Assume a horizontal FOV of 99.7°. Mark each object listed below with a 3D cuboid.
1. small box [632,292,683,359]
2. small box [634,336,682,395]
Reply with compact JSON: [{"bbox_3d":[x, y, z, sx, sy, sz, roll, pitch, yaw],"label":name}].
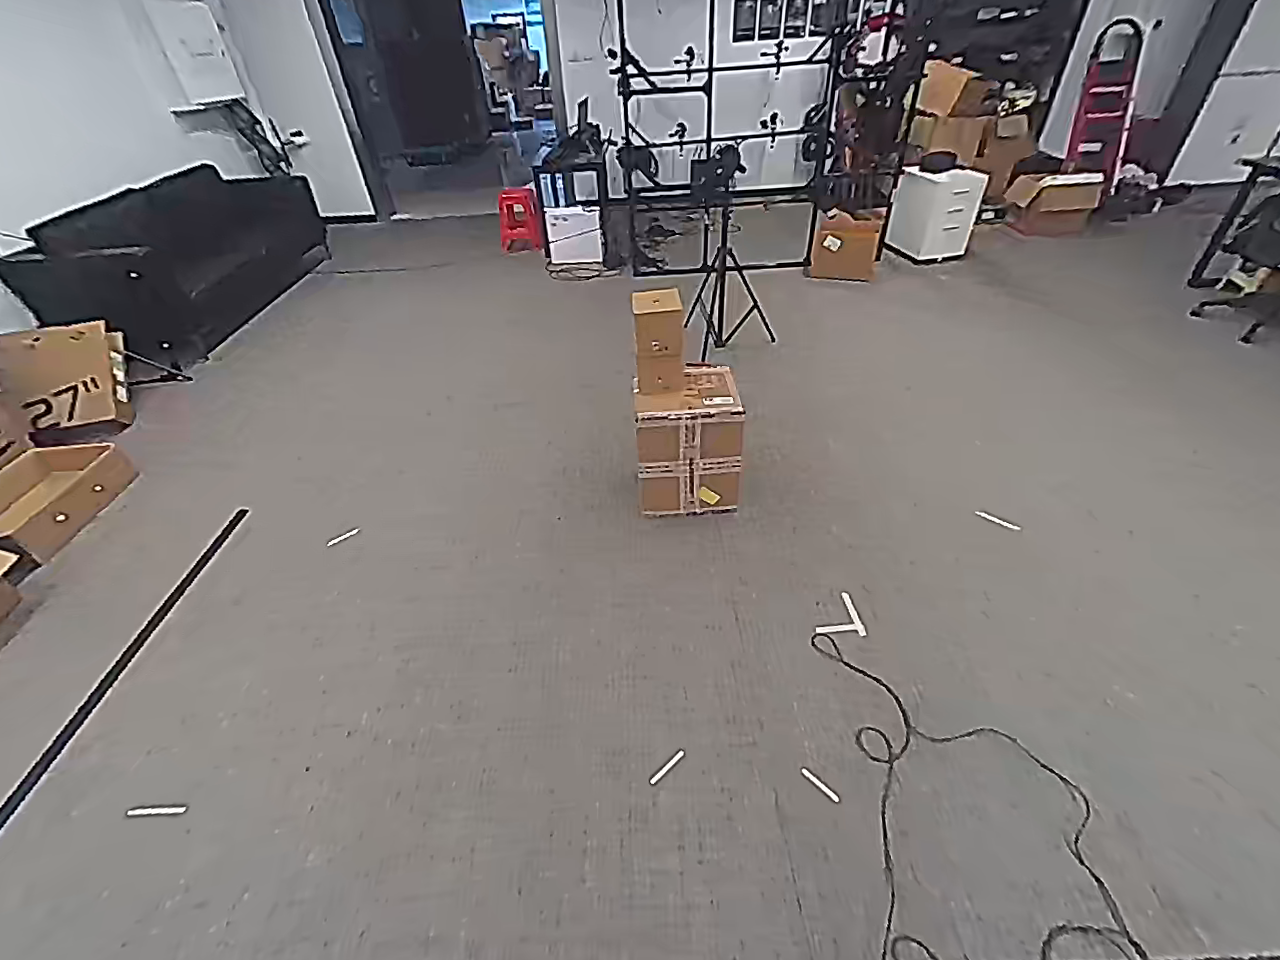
[{"bbox_3d":[0.062,-0.546,1.914,0.168,0.176,0.179,-6,42,1],"label":"small box"},{"bbox_3d":[0.067,-0.438,2.038,0.168,0.176,0.179,-5,42,1],"label":"small box"}]
